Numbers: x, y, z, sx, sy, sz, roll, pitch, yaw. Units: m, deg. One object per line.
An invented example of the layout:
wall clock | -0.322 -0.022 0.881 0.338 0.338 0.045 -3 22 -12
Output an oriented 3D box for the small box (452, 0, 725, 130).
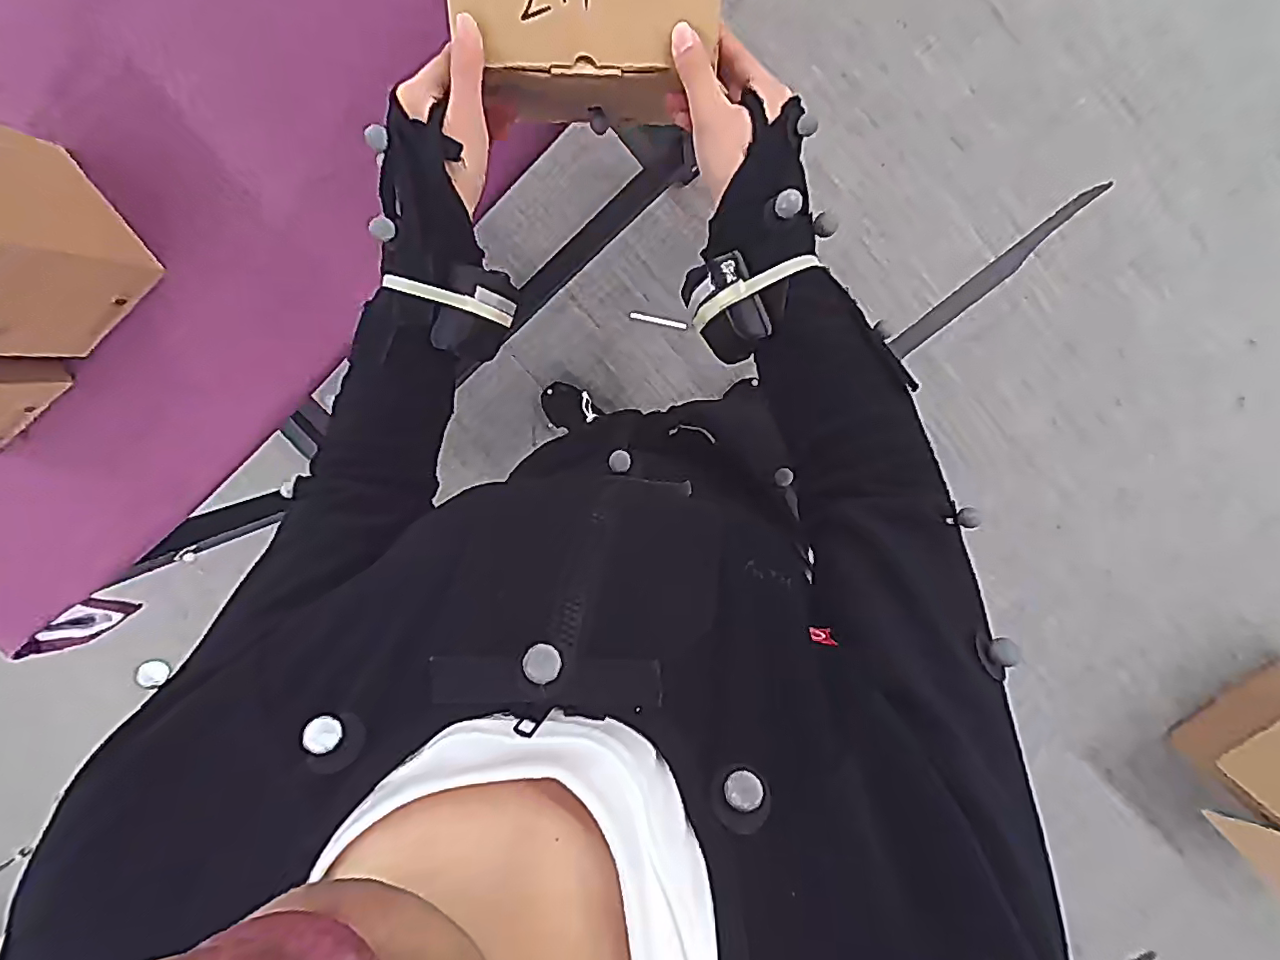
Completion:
small box | -0.028 -0.365 0.375 0.168 0.176 0.179 2 114 1
